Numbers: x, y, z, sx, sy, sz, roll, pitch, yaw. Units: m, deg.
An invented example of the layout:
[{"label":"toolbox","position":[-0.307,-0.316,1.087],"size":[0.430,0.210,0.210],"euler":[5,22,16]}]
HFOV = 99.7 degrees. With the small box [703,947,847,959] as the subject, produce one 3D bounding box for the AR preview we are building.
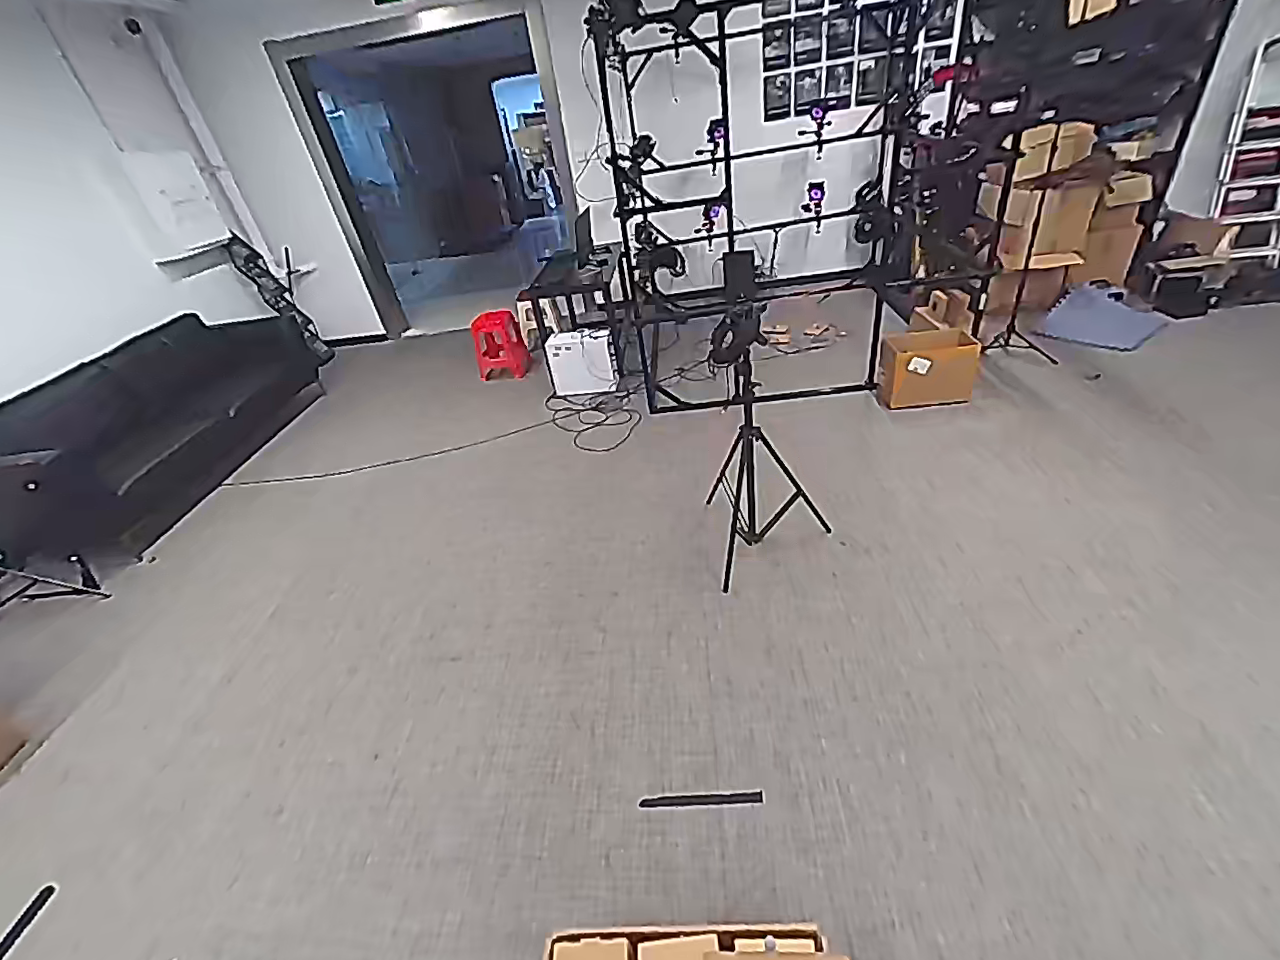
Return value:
[{"label":"small box","position":[0.160,0.660,0.625],"size":[0.168,0.176,0.179],"euler":[-2,49,3]}]
